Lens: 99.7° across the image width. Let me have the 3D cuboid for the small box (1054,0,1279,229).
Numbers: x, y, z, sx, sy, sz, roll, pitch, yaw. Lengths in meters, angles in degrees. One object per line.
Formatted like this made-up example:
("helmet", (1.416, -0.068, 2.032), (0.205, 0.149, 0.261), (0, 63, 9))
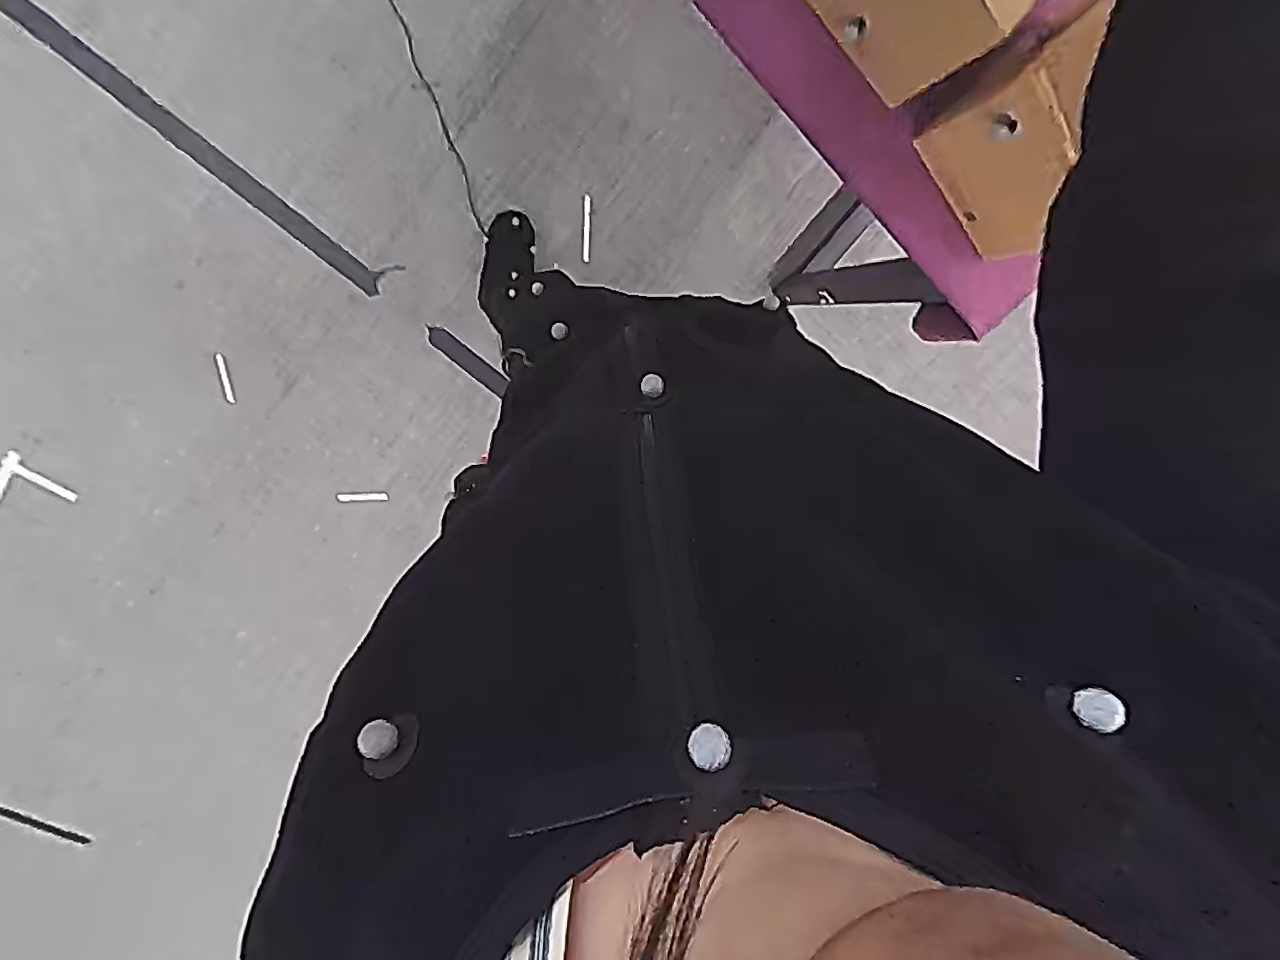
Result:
("small box", (0.443, -0.296, 0.366), (0.168, 0.176, 0.179), (-38, 107, 3))
